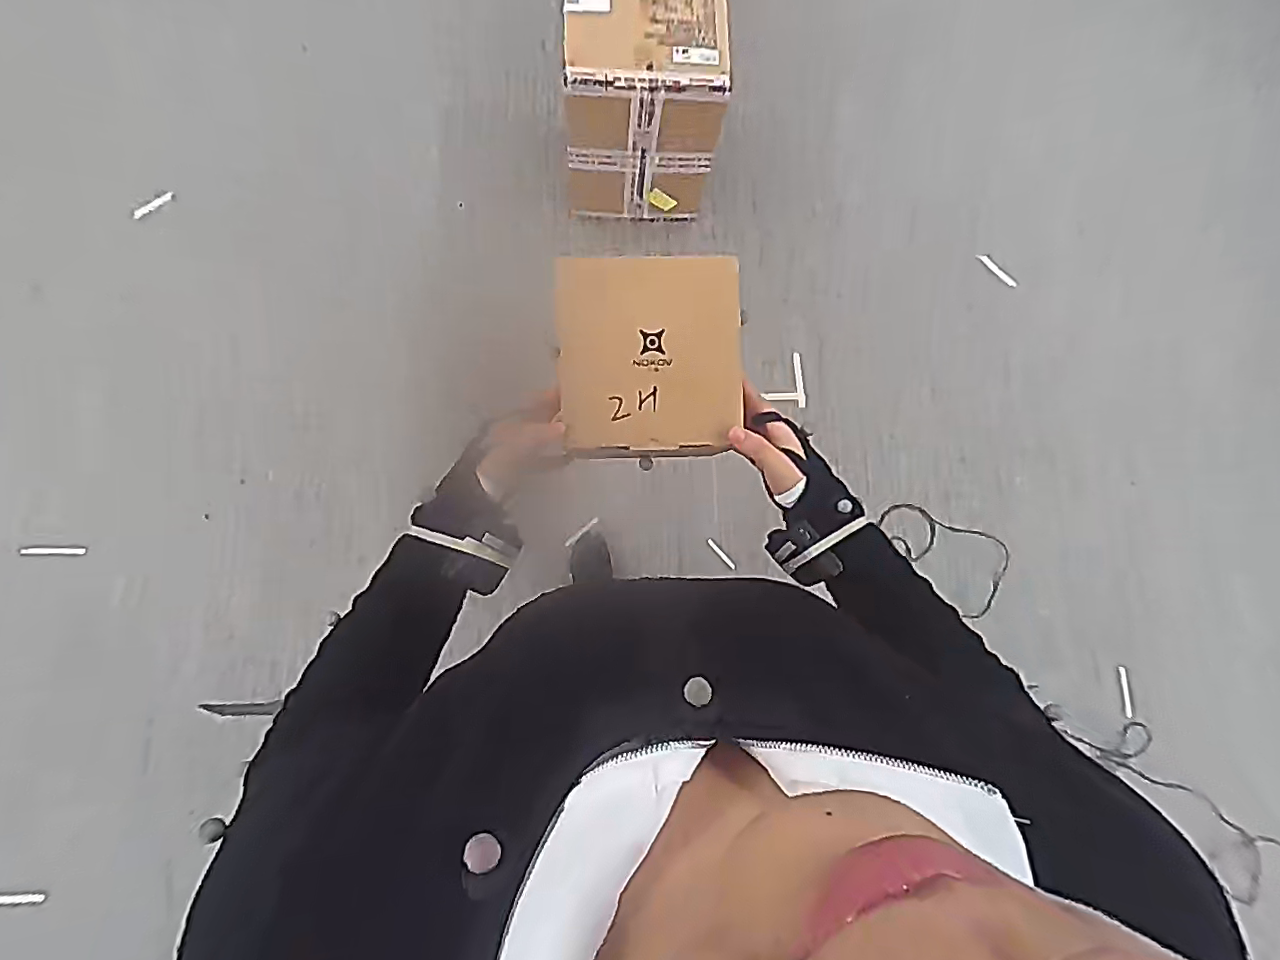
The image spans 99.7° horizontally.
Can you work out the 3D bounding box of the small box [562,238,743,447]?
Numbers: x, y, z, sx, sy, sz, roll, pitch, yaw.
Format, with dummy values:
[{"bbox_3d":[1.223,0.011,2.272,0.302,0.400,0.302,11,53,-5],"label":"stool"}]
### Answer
[{"bbox_3d":[0.006,-0.130,0.568,0.168,0.176,0.179,-1,89,-3],"label":"small box"}]
